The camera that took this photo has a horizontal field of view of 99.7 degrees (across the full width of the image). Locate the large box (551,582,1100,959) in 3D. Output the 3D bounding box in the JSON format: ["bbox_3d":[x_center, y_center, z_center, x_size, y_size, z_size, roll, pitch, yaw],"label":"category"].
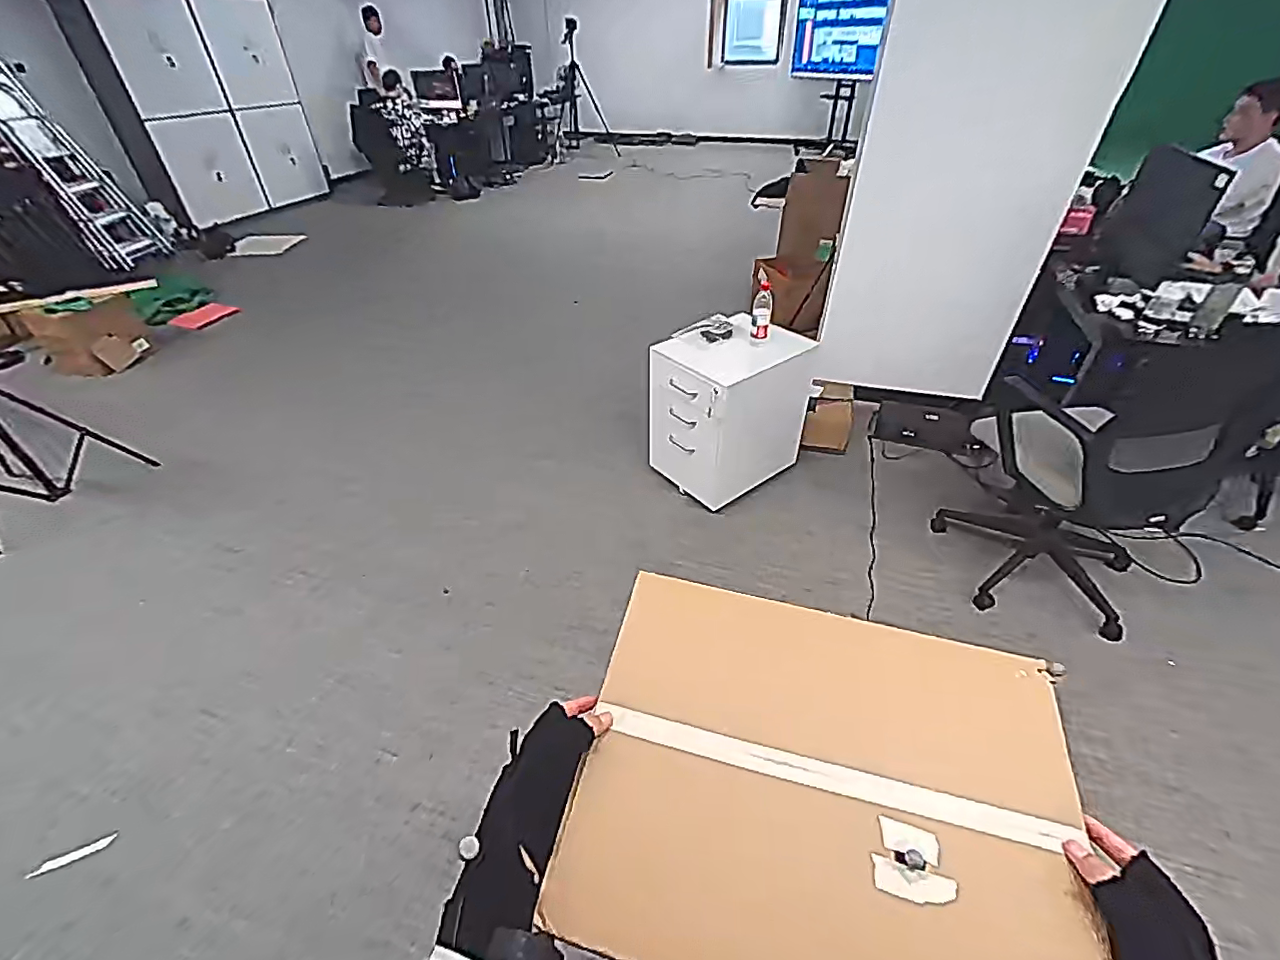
[{"bbox_3d":[0.157,0.356,0.580,0.408,0.320,0.320,11,50,10],"label":"large box"}]
